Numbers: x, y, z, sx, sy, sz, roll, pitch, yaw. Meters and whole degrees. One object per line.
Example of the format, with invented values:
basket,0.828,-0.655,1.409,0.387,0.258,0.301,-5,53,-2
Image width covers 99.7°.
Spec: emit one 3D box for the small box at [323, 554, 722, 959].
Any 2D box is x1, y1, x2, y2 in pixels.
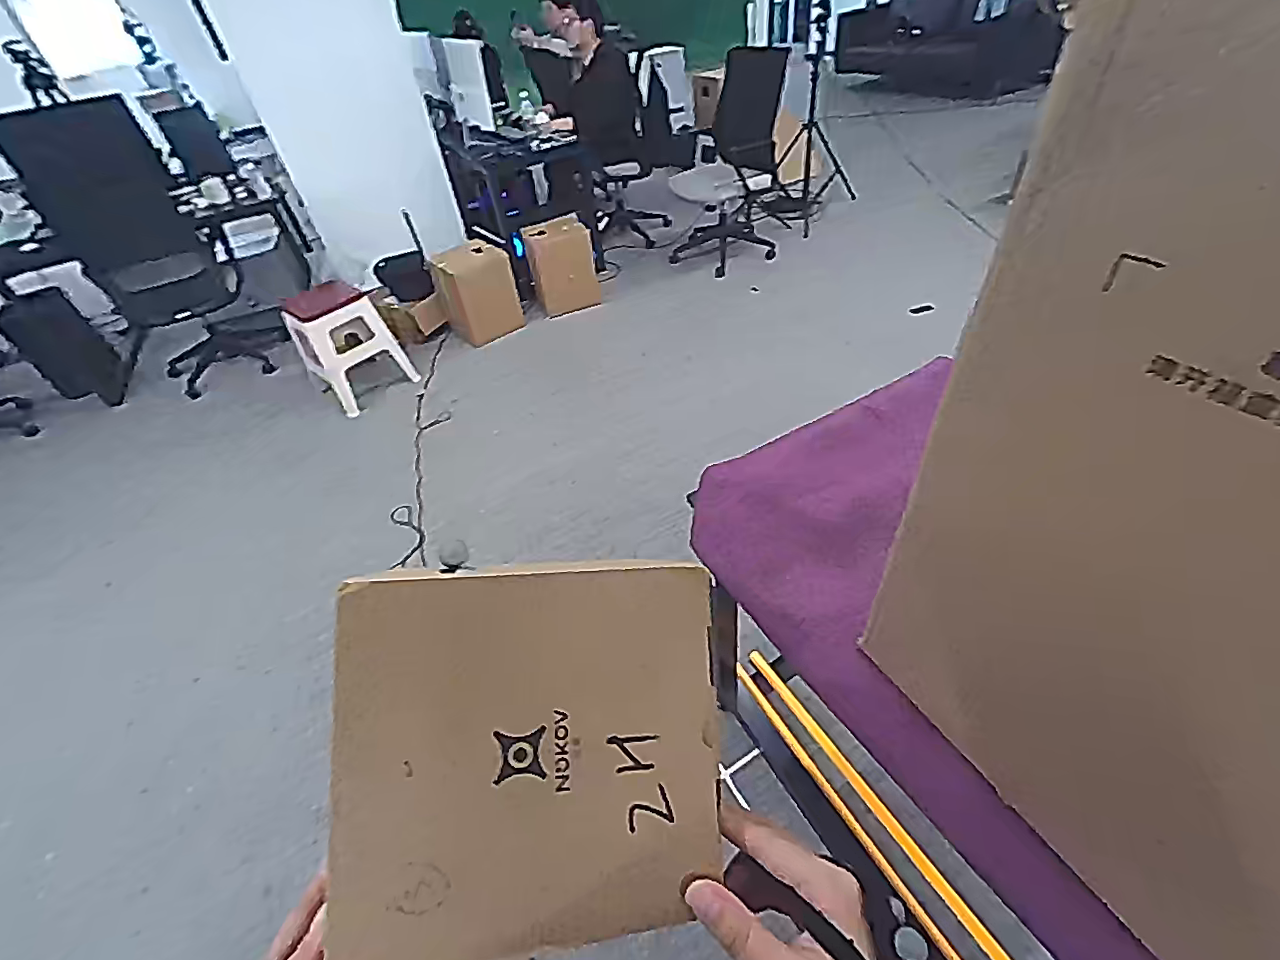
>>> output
small box,-0.065,0.131,0.325,0.179,0.176,0.168,0,84,-14
